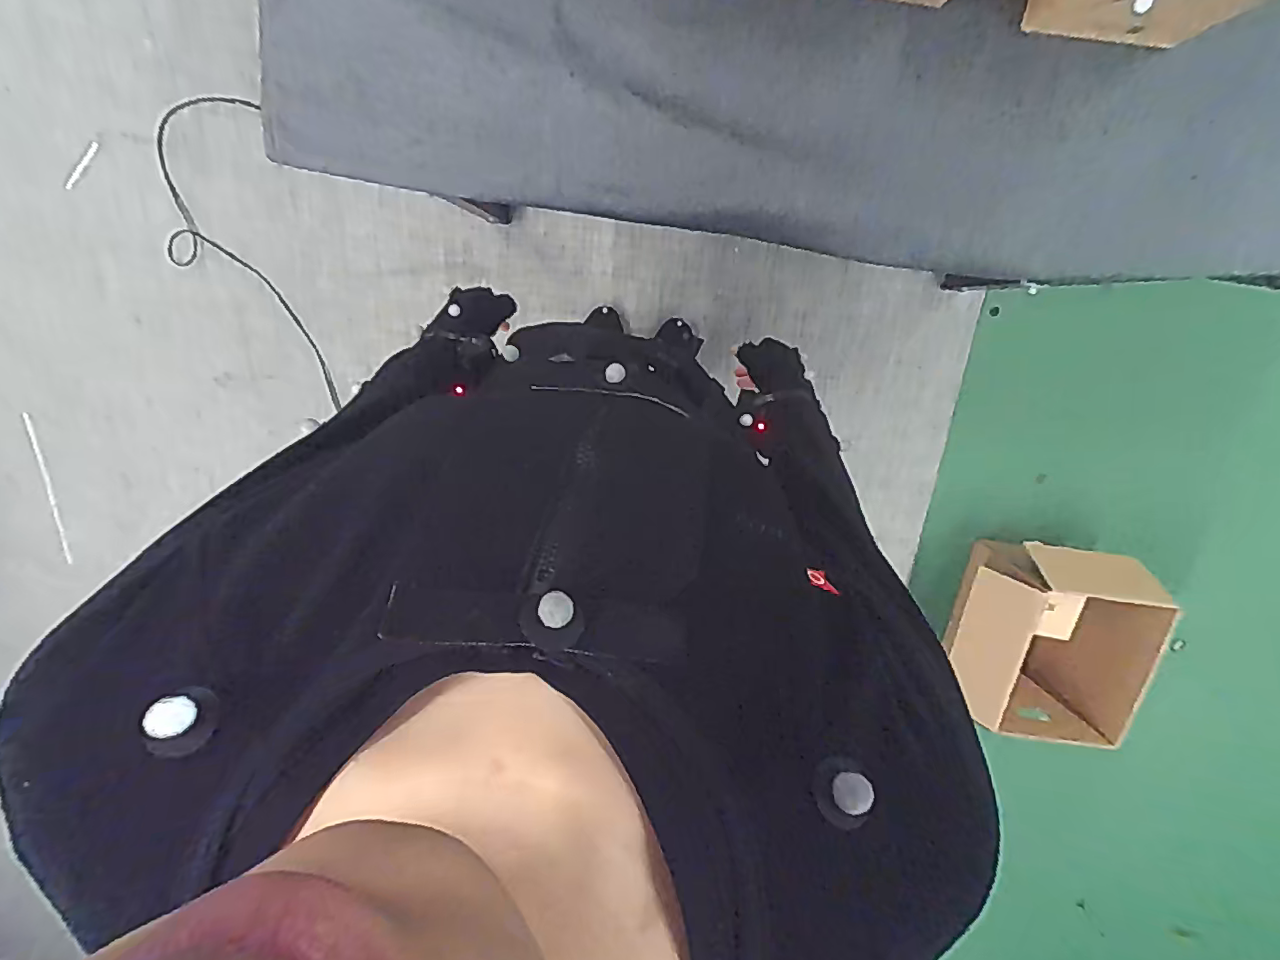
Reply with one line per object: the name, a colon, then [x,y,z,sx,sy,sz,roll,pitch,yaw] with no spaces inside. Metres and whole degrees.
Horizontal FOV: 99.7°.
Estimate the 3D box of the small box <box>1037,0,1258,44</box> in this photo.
small box: [0.490,-0.518,0.465,0.168,0.176,0.179,7,108,0]
